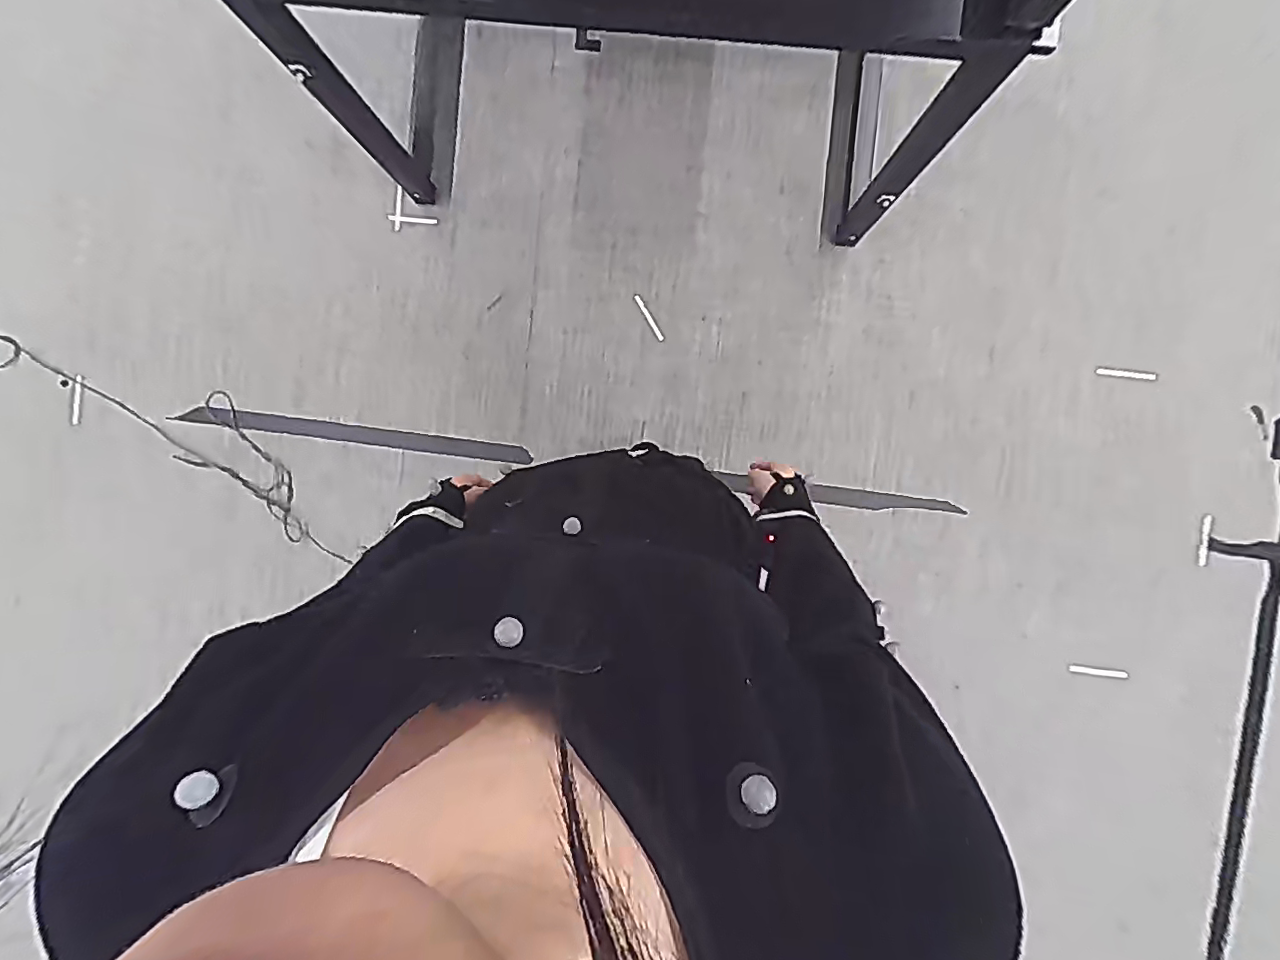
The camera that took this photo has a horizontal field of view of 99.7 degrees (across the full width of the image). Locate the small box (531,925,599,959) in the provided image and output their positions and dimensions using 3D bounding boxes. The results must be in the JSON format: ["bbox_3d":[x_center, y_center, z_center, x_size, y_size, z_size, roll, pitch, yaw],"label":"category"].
[{"bbox_3d":[-0.201,1.337,1.445,0.168,0.176,0.179,-7,91,1],"label":"small box"}]
